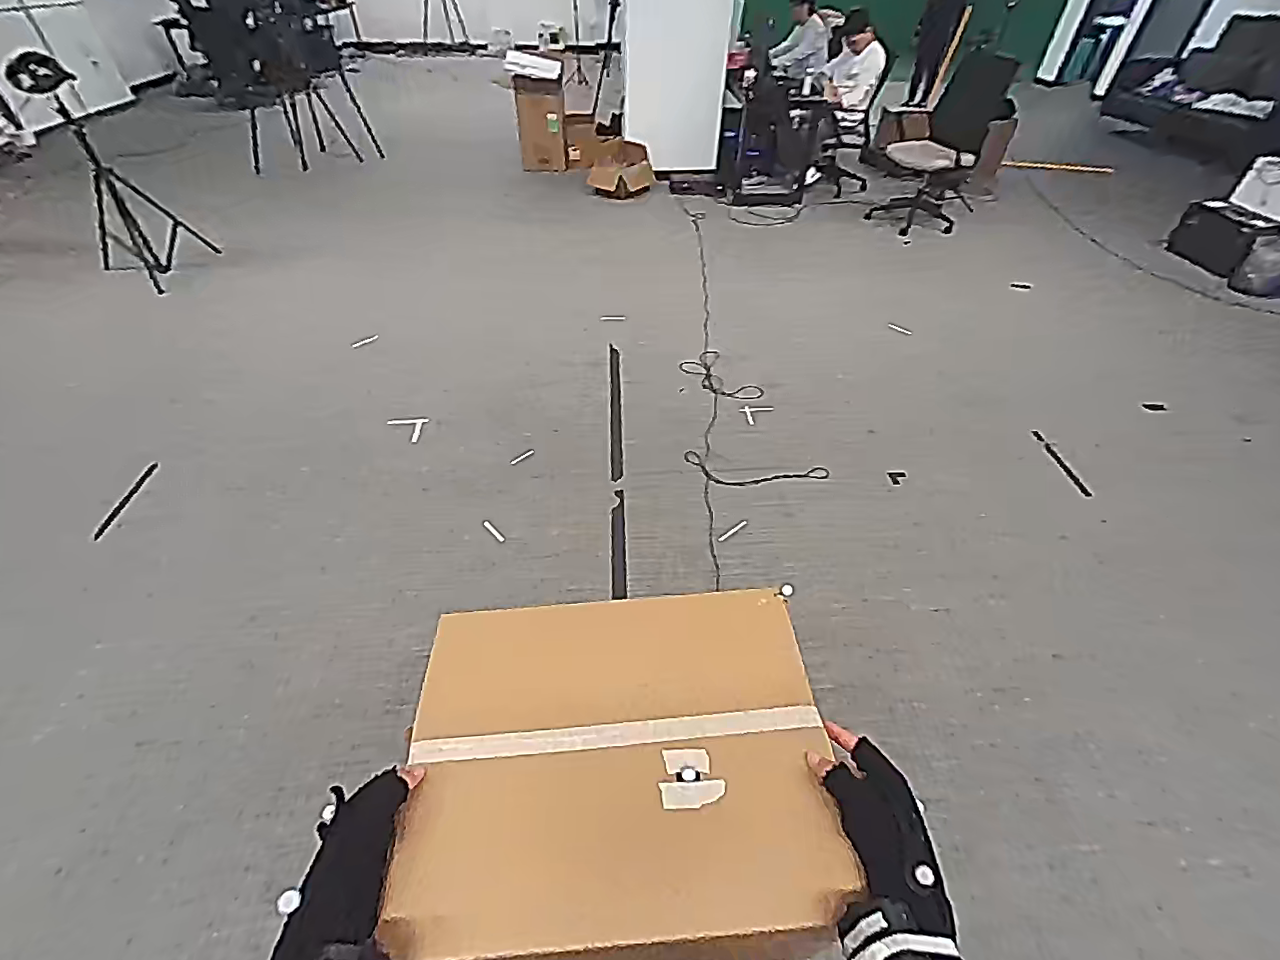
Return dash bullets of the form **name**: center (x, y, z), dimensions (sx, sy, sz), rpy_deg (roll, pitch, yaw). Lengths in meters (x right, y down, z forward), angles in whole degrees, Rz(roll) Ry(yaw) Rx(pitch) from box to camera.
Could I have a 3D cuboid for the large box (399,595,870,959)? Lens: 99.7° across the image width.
- **large box**: center (-0.009, 0.368, 0.656), dimensions (0.408, 0.320, 0.320), rpy_deg (-4, 45, -1)
